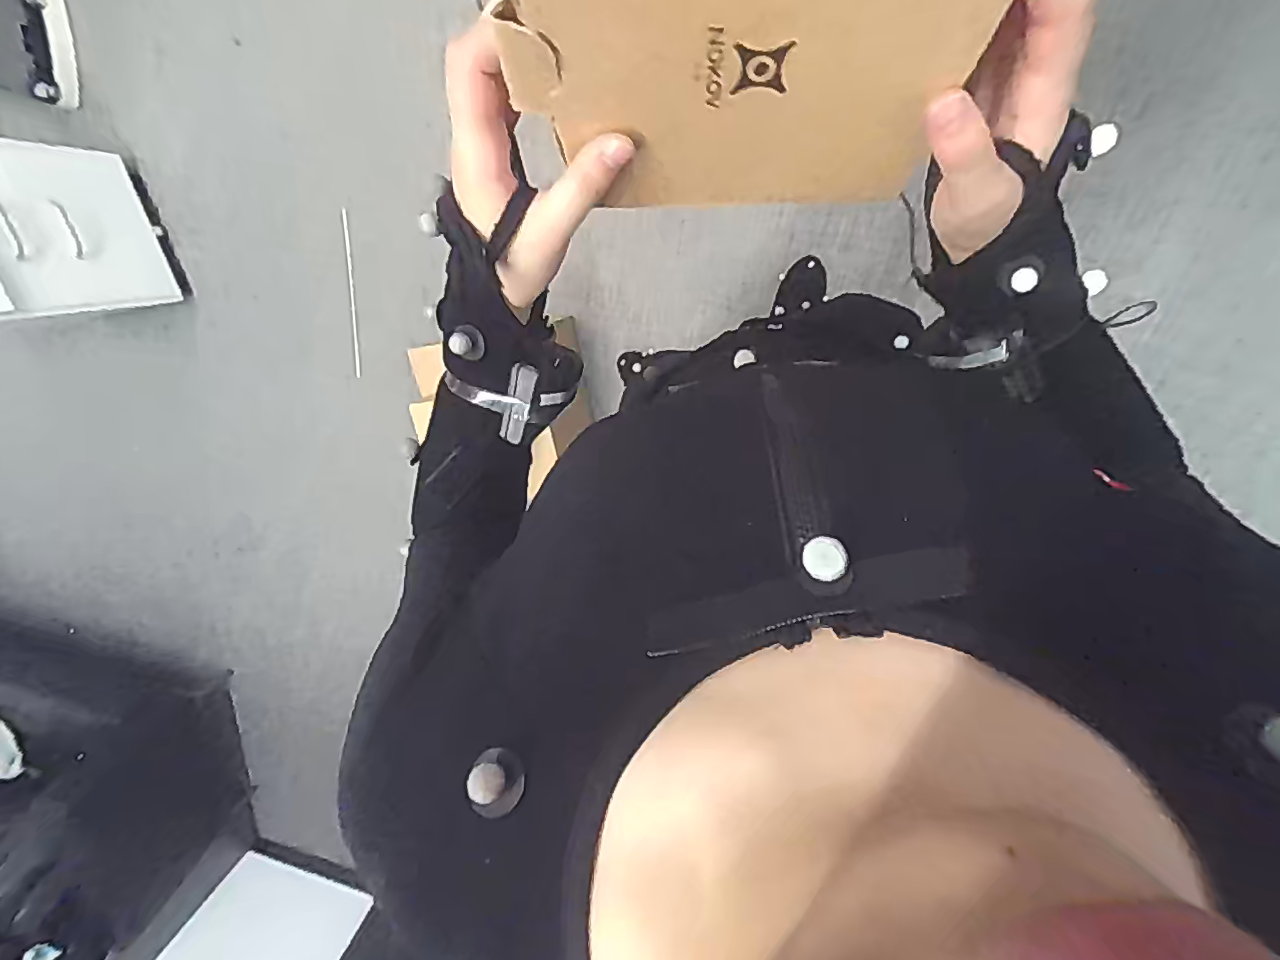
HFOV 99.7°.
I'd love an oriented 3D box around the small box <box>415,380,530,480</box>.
[{"bbox_3d":[-0.364,-0.115,1.214,0.168,0.176,0.179,-4,112,14],"label":"small box"}]
